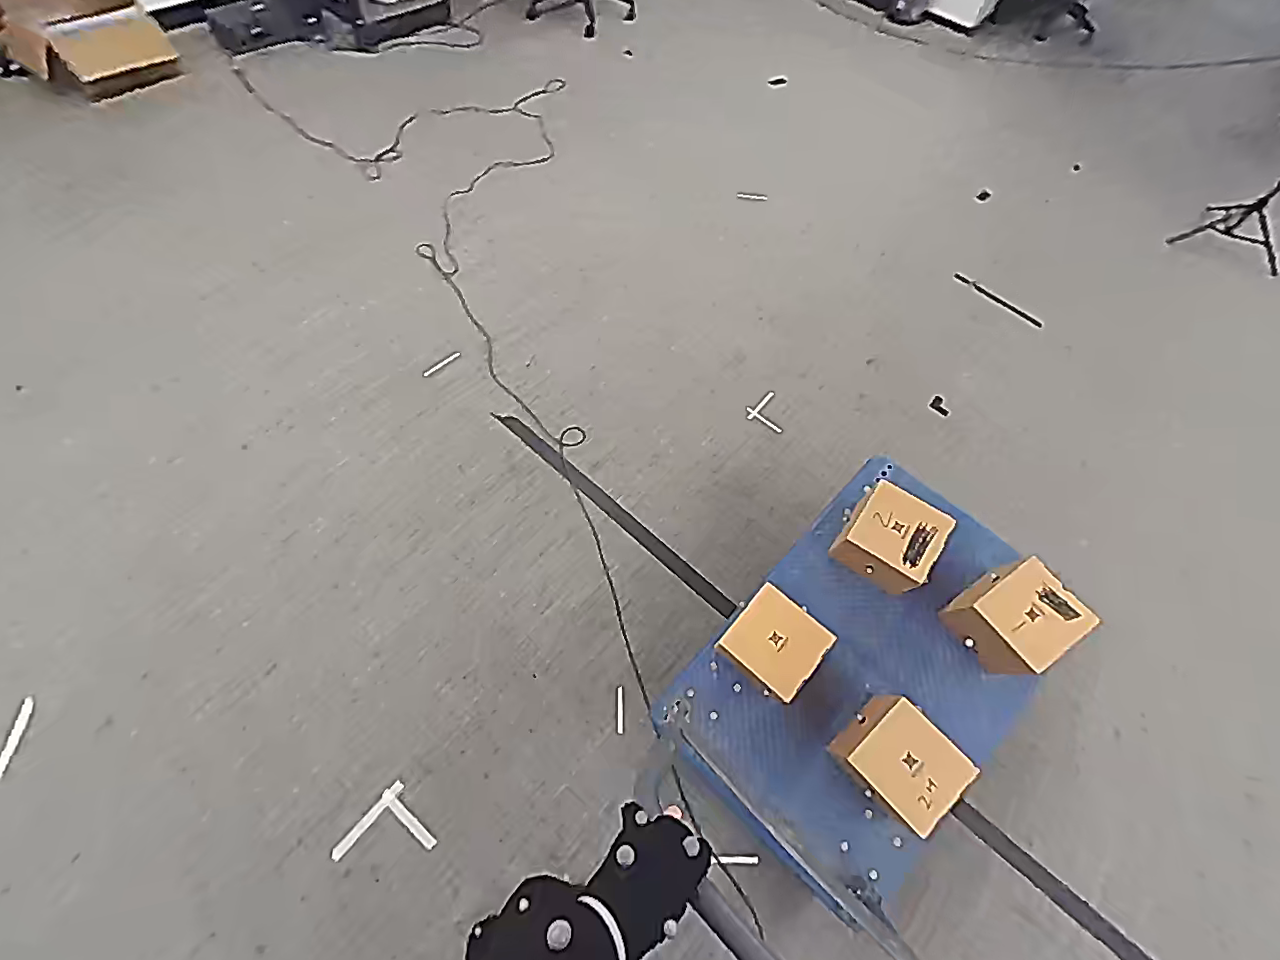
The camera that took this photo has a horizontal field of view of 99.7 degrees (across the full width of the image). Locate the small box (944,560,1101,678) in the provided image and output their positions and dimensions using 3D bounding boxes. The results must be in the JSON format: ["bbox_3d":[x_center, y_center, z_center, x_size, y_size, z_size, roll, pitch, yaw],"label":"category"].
[{"bbox_3d":[0.790,0.296,1.140,0.179,0.176,0.168,-34,71,-7],"label":"small box"}]

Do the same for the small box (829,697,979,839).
[{"bbox_3d":[0.505,0.553,1.065,0.168,0.176,0.179,-41,72,-11],"label":"small box"}]

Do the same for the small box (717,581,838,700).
[{"bbox_3d":[0.283,0.346,1.159,0.179,0.176,0.168,40,77,15],"label":"small box"}]
